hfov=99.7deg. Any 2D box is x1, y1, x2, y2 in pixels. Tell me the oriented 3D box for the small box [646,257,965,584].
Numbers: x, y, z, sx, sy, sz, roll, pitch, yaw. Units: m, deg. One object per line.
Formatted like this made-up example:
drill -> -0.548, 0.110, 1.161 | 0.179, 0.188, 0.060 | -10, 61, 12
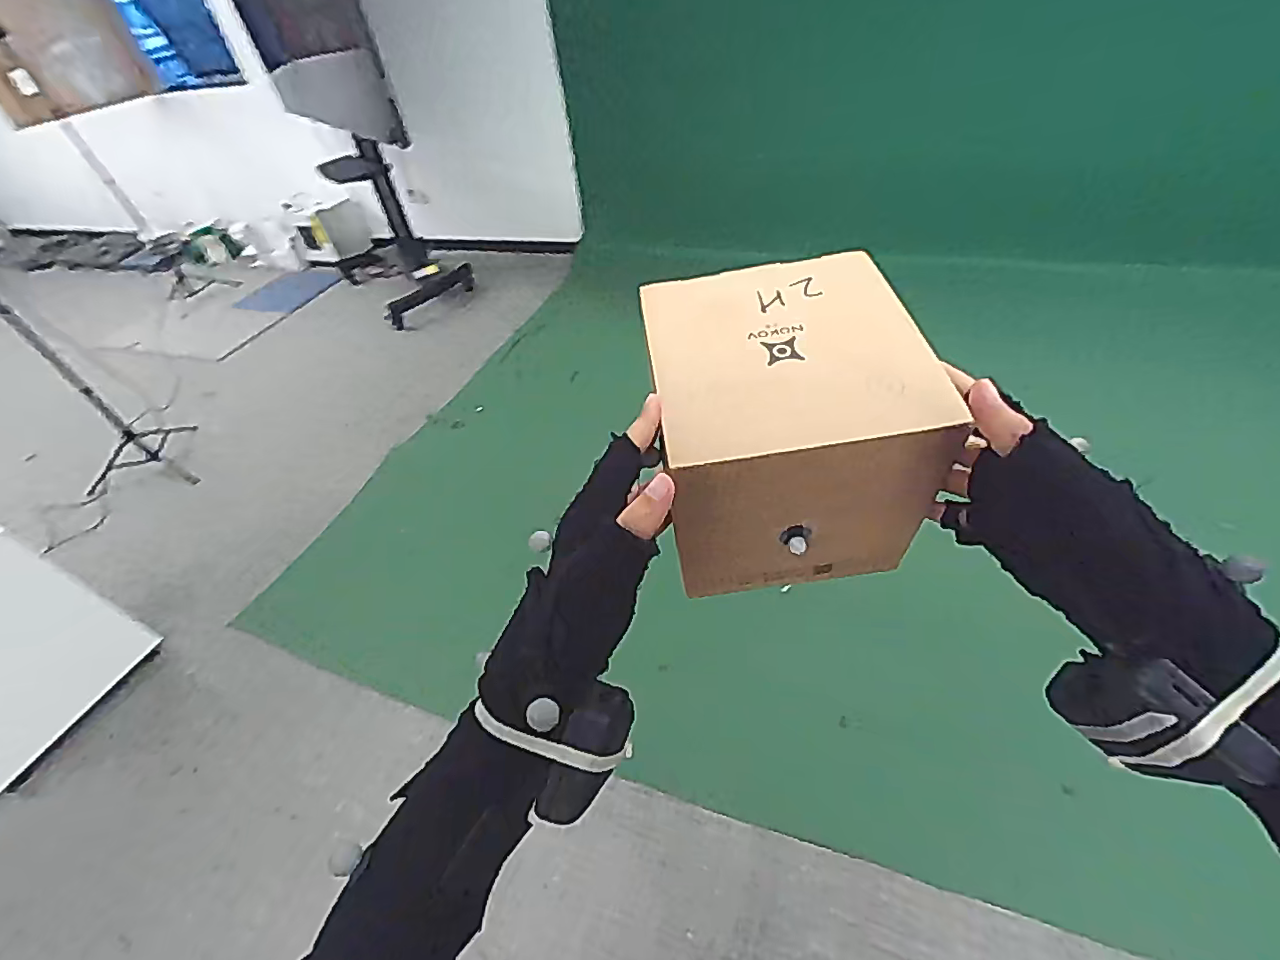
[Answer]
small box -> 0.100, -0.034, 0.407 | 0.168, 0.176, 0.179 | -8, 52, 3
